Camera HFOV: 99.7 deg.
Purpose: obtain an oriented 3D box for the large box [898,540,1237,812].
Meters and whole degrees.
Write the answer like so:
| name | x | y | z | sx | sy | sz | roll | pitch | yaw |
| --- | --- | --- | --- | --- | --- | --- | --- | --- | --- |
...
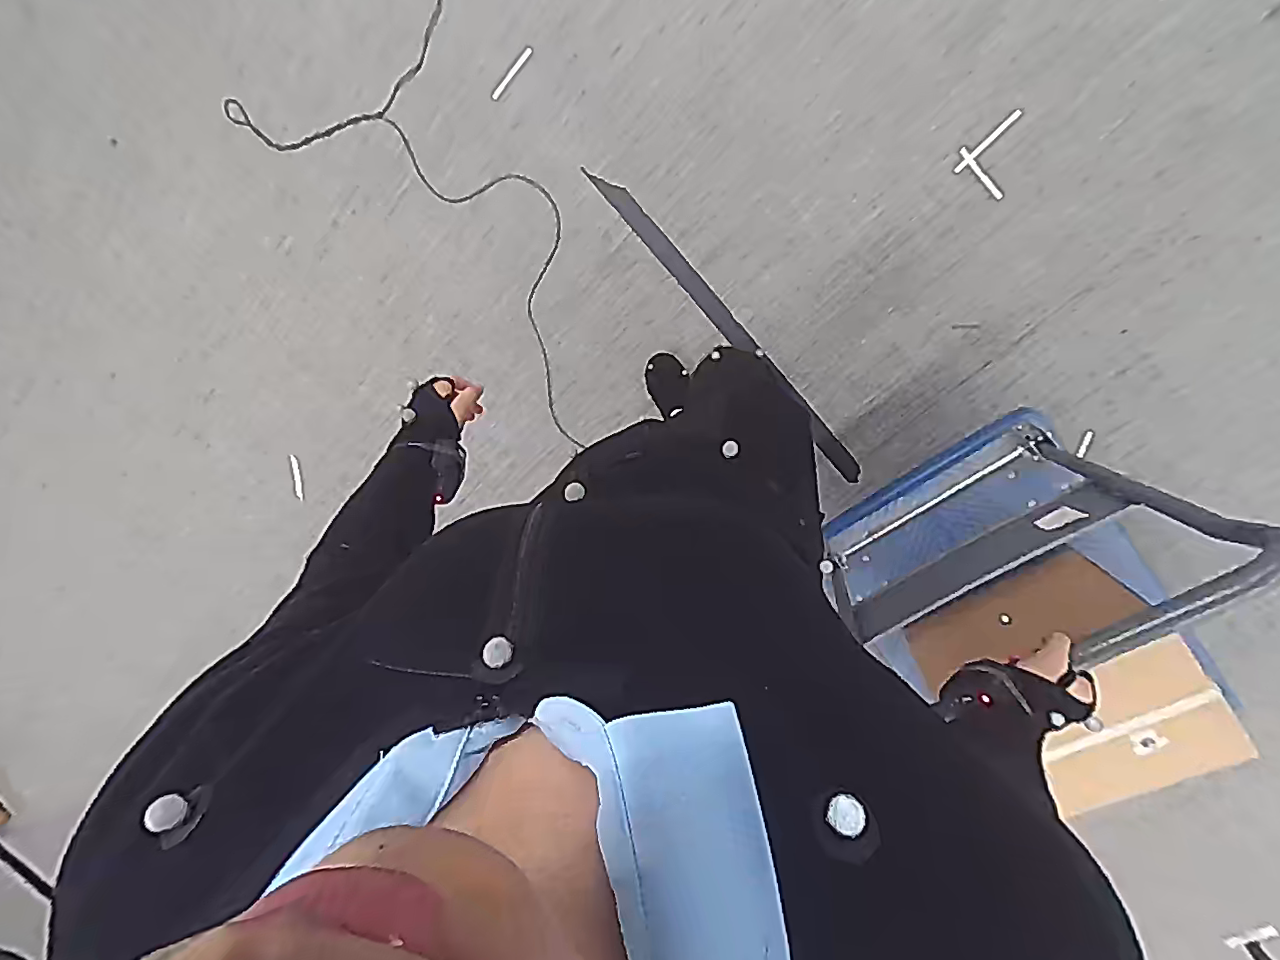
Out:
| name | x | y | z | sx | sy | sz | roll | pitch | yaw |
| --- | --- | --- | --- | --- | --- | --- | --- | --- | --- |
| large box | 0.846 | 0.396 | 1.145 | 0.408 | 0.320 | 0.320 | -36 | 97 | 18 |
